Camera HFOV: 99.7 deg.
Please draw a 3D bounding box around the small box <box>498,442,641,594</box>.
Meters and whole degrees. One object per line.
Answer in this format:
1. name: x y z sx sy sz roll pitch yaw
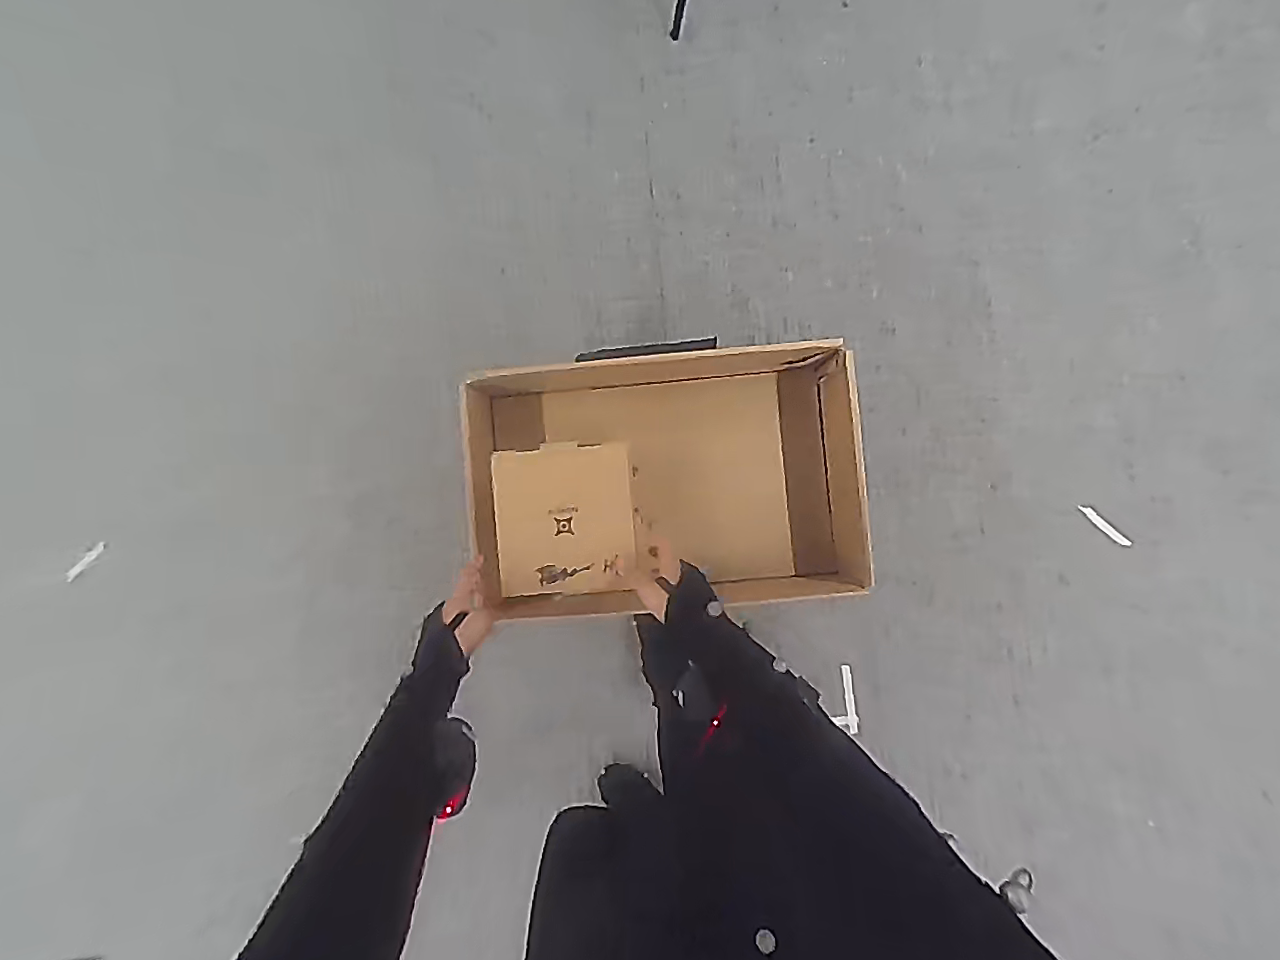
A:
1. small box: -0.086 0.050 0.727 0.168 0.176 0.179 -4 87 1
